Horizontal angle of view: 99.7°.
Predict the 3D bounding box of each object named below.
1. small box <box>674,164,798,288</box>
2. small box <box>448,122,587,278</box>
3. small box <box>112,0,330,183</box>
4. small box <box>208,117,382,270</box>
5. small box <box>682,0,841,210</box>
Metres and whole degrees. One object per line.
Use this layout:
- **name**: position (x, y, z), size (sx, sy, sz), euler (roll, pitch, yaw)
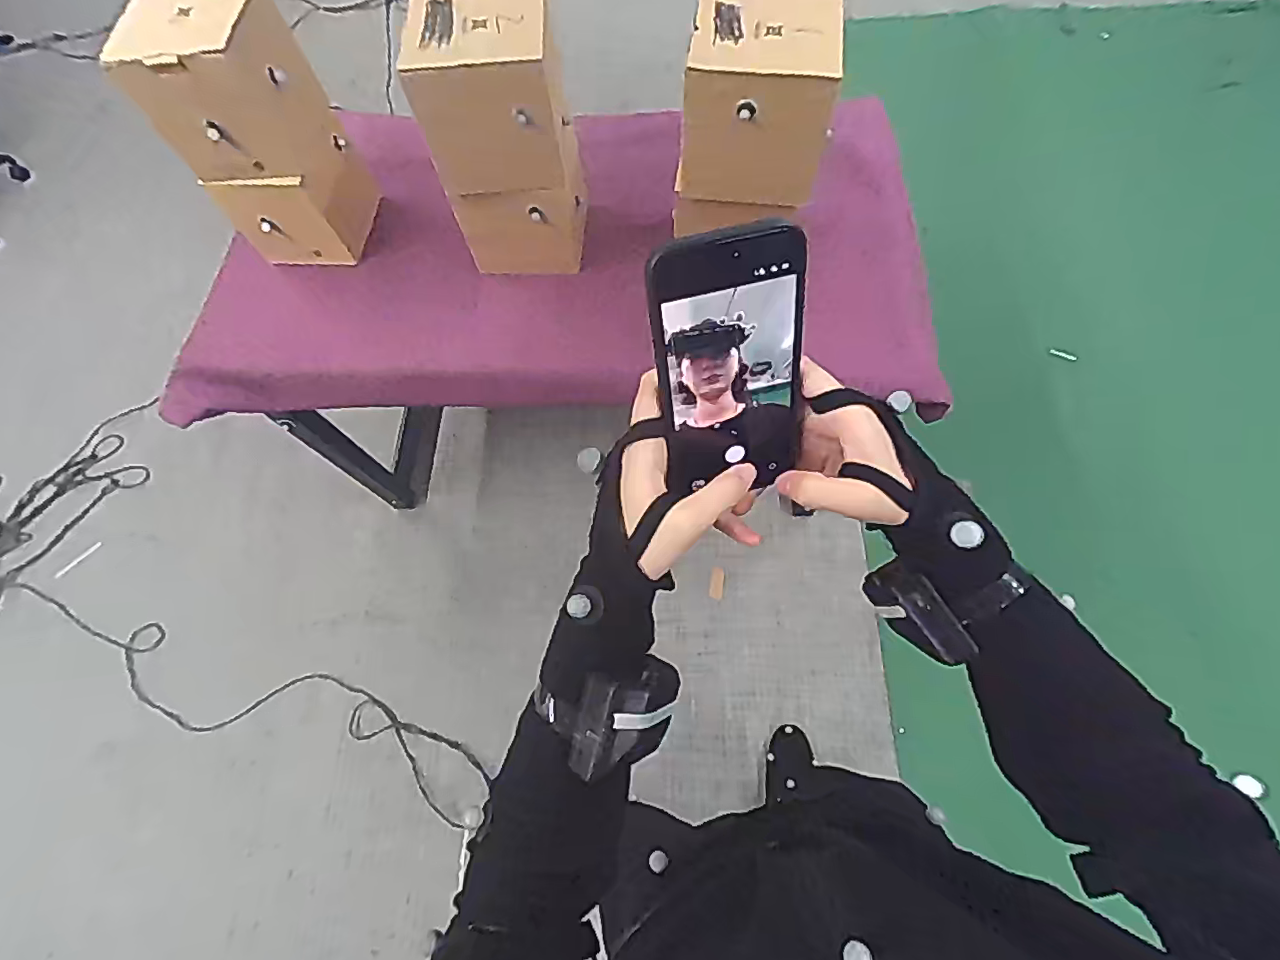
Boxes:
- **small box**: position (0.152, -0.429, 0.862), size (0.179, 0.176, 0.168), euler (7, 67, 8)
- **small box**: position (-0.187, -0.453, 0.891), size (0.179, 0.176, 0.168), euler (2, 67, 4)
- **small box**: position (-0.584, -0.557, 0.783), size (0.168, 0.176, 0.179), euler (-2, 67, 2)
- **small box**: position (-0.575, -0.484, 0.931), size (0.168, 0.176, 0.179), euler (2, 67, 5)
- **small box**: position (0.150, -0.481, 0.705), size (0.179, 0.176, 0.168), euler (7, 67, 6)
